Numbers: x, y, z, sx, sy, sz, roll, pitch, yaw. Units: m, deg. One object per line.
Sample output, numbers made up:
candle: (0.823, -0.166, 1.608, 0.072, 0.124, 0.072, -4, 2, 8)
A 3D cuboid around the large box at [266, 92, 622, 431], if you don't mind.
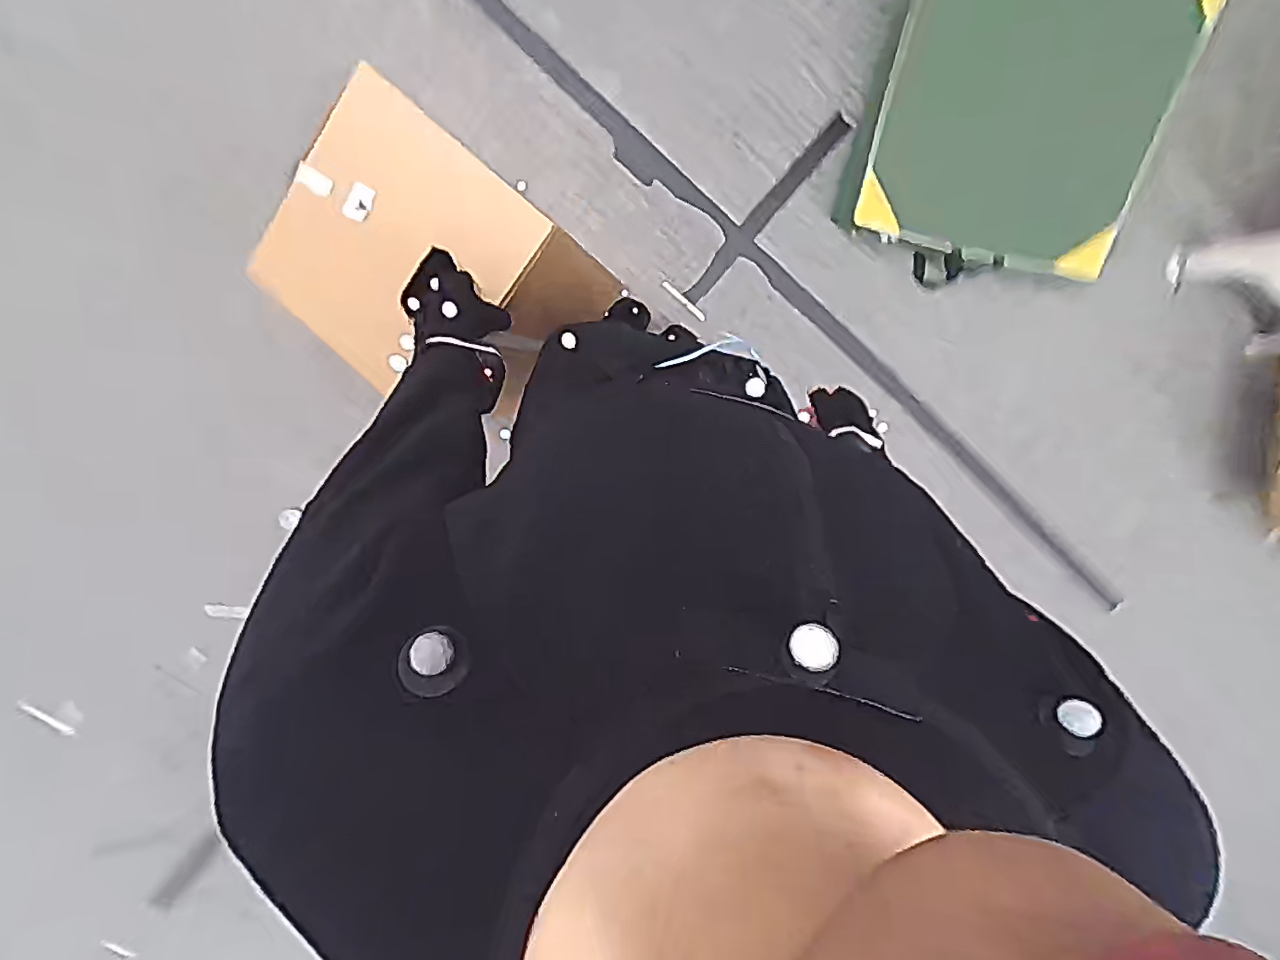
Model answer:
large box: (-0.277, -0.313, 0.882, 0.320, 0.408, 0.320, 41, 105, 0)
